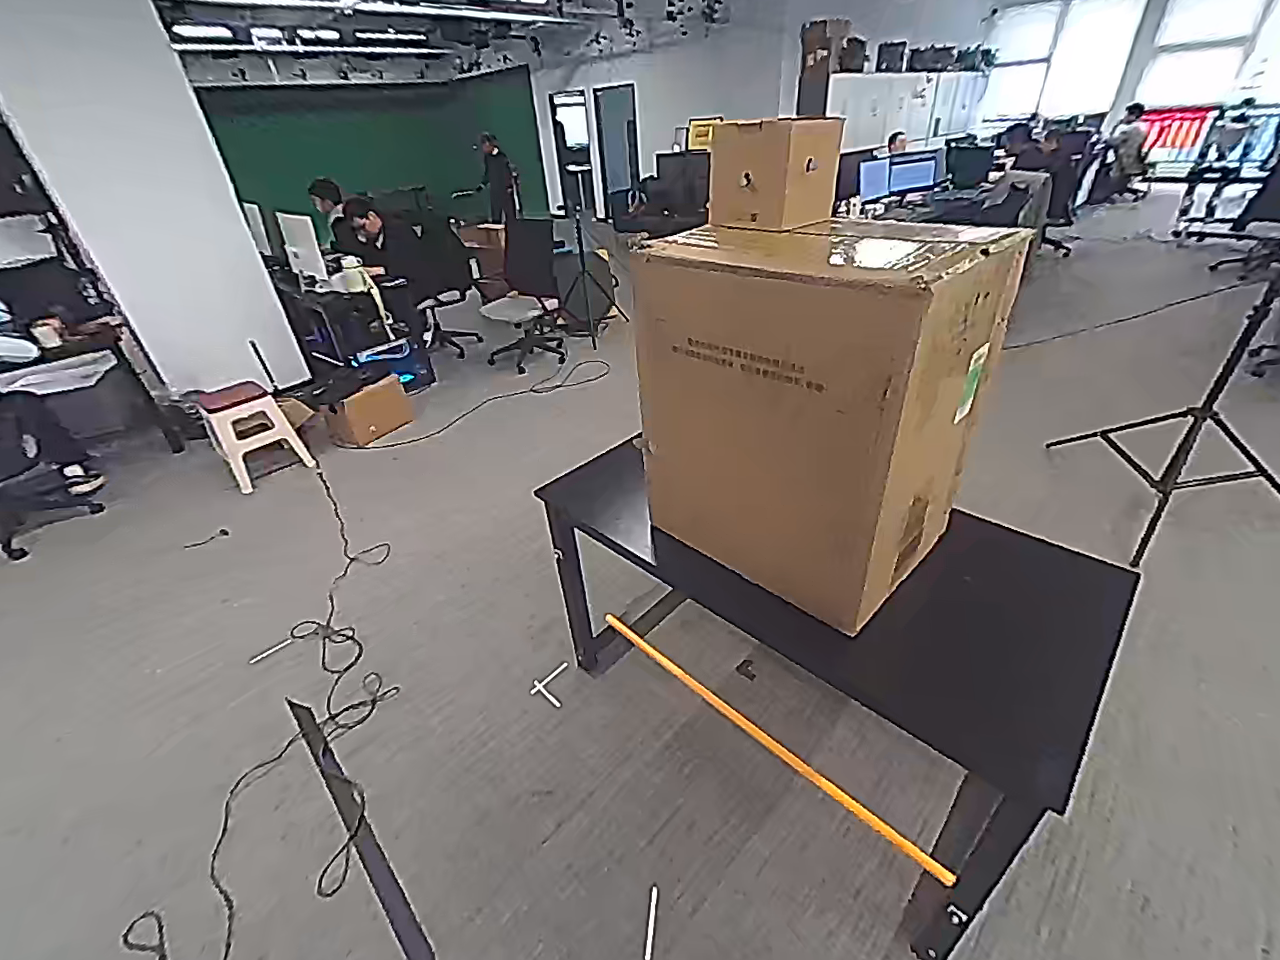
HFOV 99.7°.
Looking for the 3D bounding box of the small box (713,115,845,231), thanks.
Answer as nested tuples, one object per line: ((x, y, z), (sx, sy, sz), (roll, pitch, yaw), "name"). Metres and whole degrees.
((0.251, -0.563, 0.994), (0.168, 0.176, 0.179), (27, 44, 37), "small box")
